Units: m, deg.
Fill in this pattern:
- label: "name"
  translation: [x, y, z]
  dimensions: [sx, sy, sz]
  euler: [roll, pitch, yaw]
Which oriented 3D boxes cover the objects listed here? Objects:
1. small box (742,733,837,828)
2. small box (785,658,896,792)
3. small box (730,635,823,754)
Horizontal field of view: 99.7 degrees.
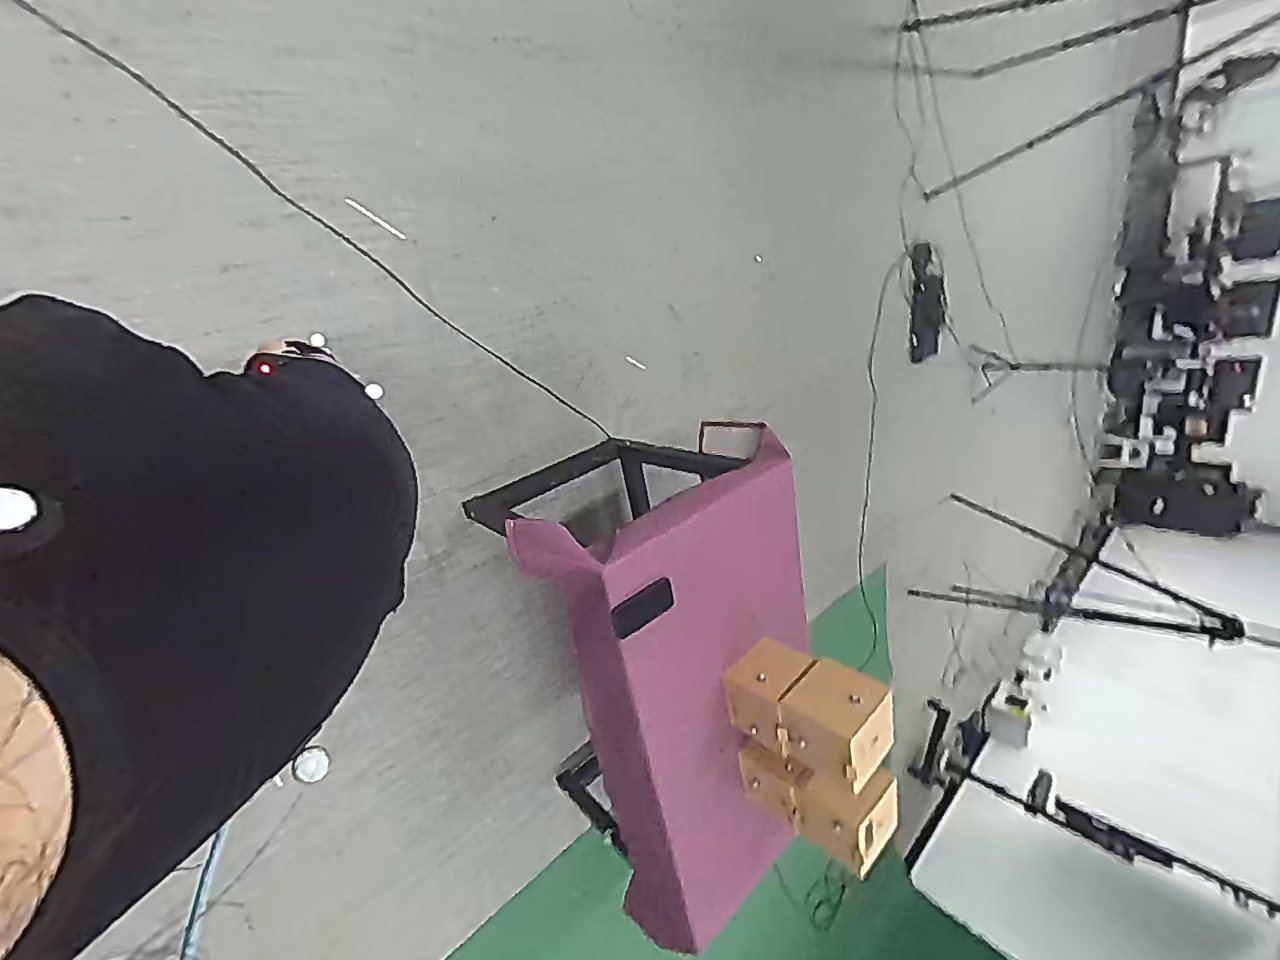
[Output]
- label: "small box"
  translation: [0.394, 0.752, 1.426]
  dimensions: [0.179, 0.176, 0.168]
  euler: [-27, 116, -32]
- label: "small box"
  translation: [0.445, 0.530, 1.201]
  dimensions: [0.179, 0.176, 0.168]
  euler: [-28, 117, -32]
- label: "small box"
  translation: [0.334, 0.515, 1.323]
  dimensions: [0.179, 0.176, 0.168]
  euler: [-28, 117, -33]
